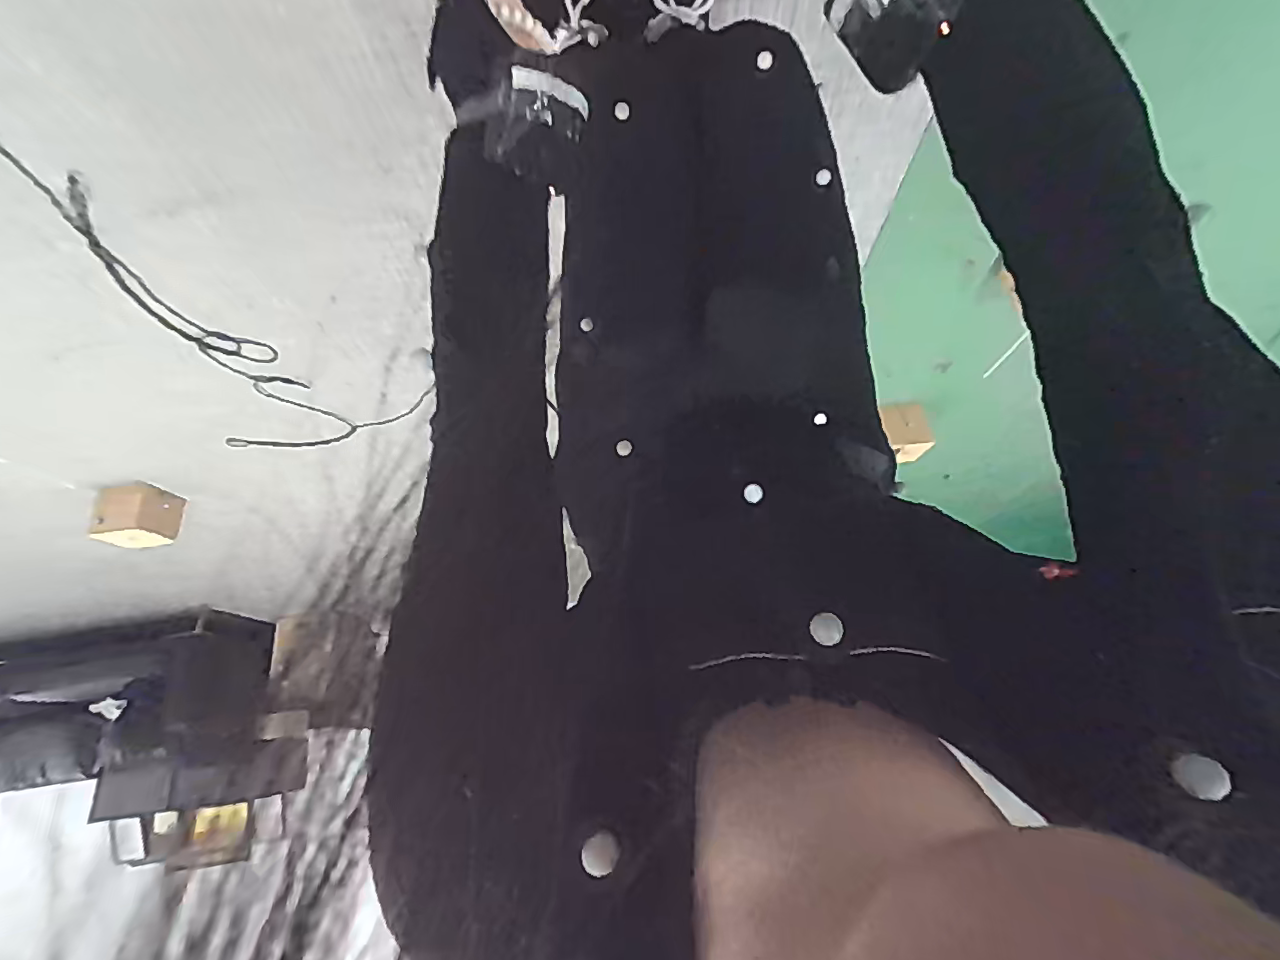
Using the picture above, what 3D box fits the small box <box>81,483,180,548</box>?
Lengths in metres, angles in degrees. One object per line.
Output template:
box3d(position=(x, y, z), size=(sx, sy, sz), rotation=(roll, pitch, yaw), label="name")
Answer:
box3d(position=(-1.762, 0.125, 1.882), size=(0.179, 0.176, 0.168), rotation=(-8, 157, 1), label="small box")
